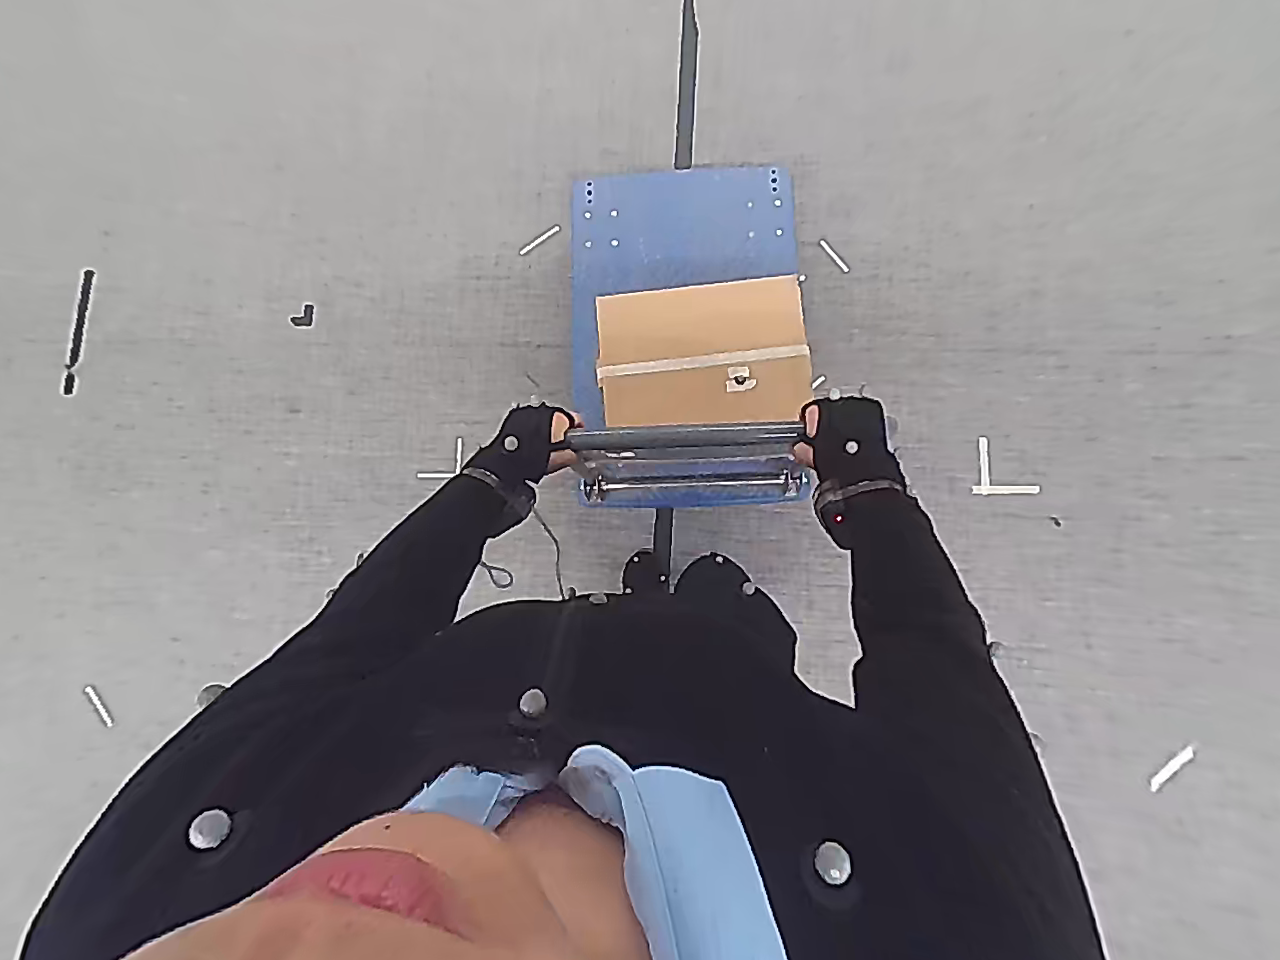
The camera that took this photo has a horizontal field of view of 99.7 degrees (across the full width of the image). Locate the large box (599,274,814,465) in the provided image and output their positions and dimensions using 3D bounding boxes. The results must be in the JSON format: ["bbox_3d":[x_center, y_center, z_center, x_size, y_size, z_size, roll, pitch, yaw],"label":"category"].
[{"bbox_3d":[0.135,-0.224,1.218,0.408,0.320,0.320,-6,85,3],"label":"large box"}]
